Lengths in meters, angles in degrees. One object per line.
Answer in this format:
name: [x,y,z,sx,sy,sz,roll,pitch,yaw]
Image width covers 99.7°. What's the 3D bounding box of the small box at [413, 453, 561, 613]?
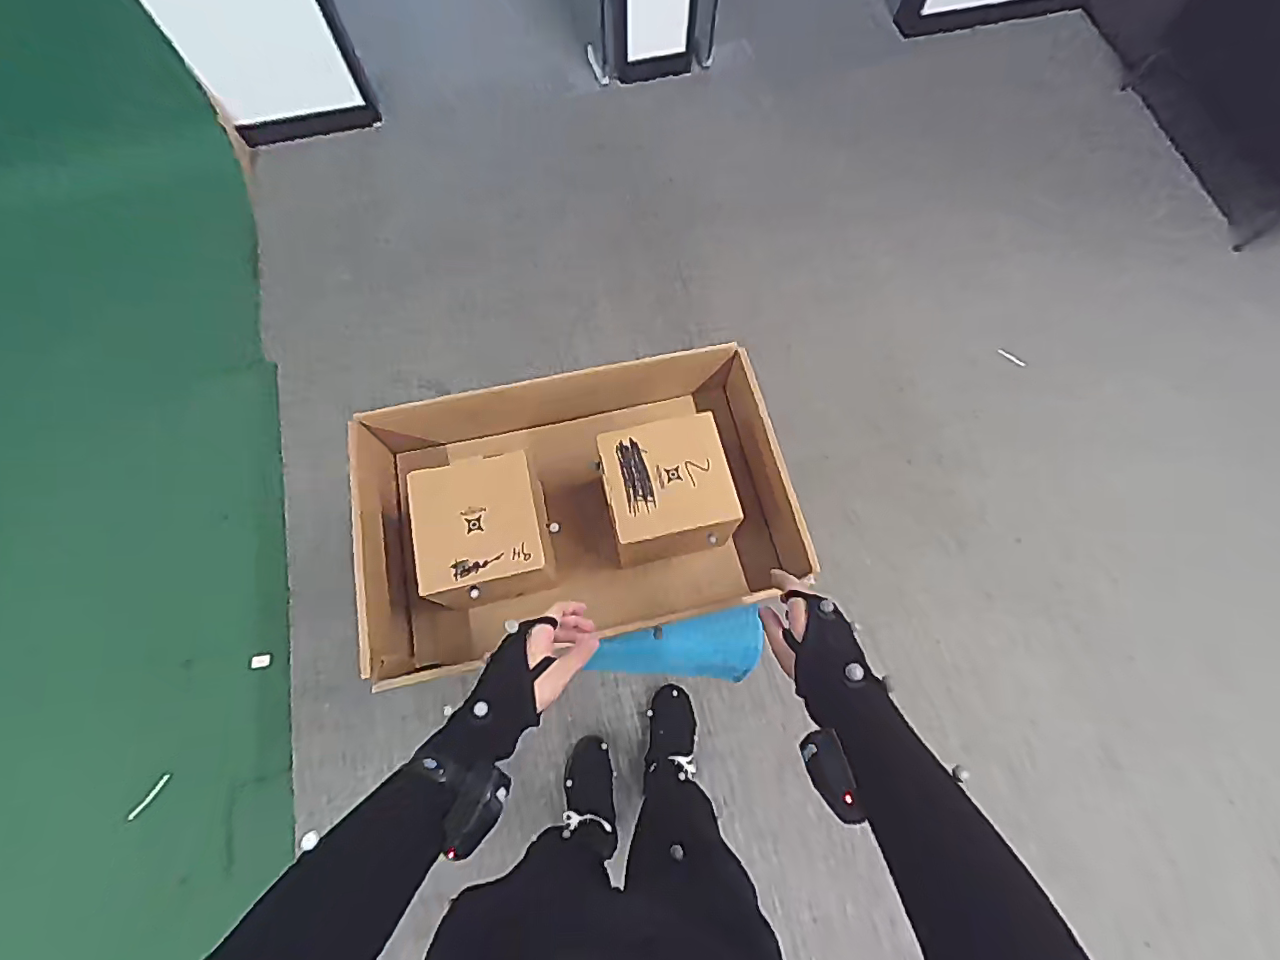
small box: [-0.218,0.085,0.799,0.168,0.176,0.179,-12,70,-5]
